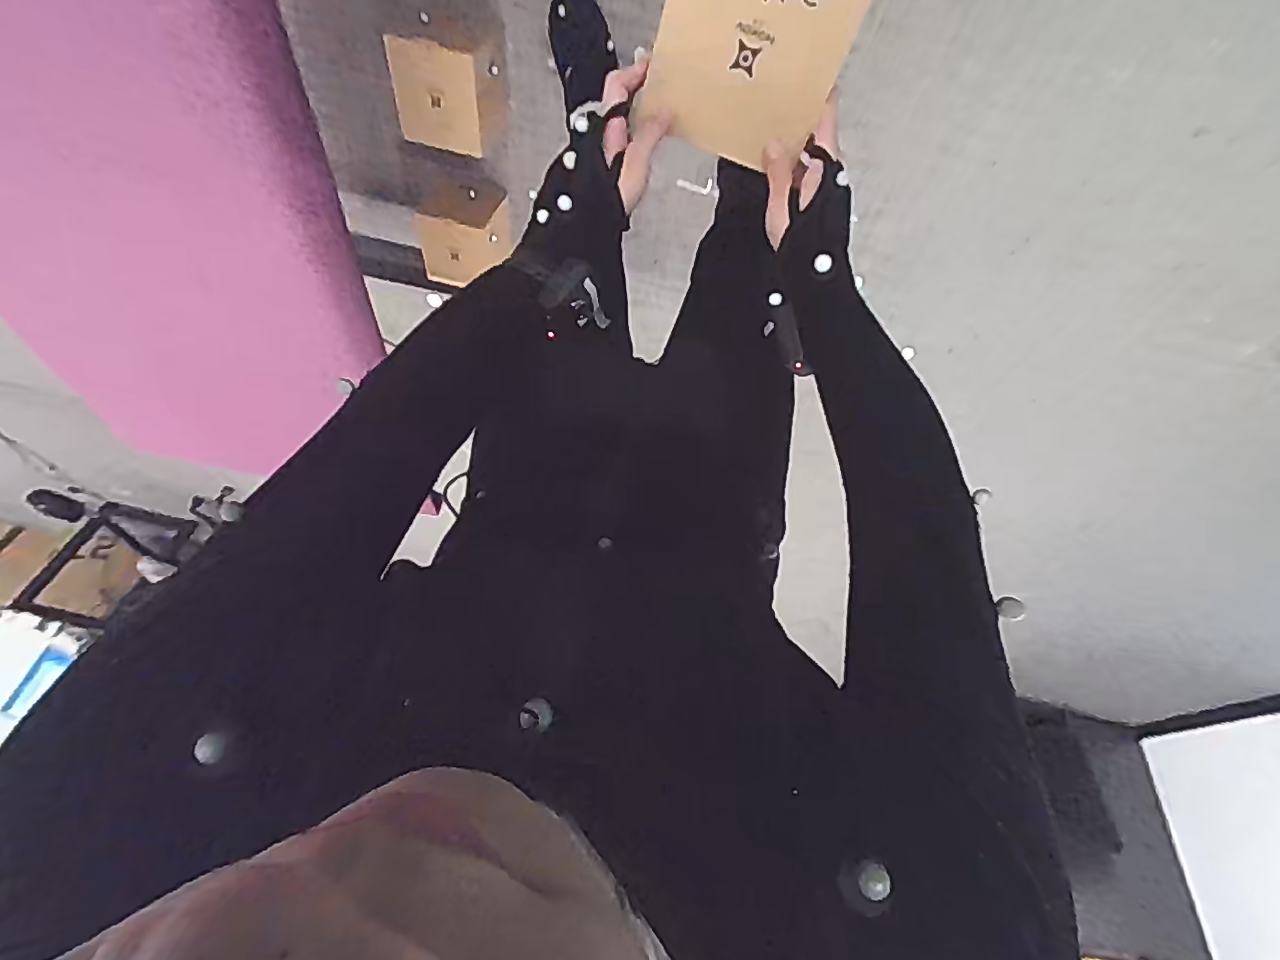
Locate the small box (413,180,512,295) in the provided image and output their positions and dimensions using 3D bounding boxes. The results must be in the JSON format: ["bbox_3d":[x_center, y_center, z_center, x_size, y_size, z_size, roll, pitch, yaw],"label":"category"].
[{"bbox_3d":[-0.420,-0.588,1.313,0.168,0.176,0.179,13,145,1],"label":"small box"}]

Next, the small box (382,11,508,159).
[{"bbox_3d":[-0.365,-0.768,1.049,0.168,0.176,0.179,14,145,0],"label":"small box"}]

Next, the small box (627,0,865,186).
[{"bbox_3d":[0.096,-0.432,0.534,0.168,0.176,0.179,16,133,-9],"label":"small box"}]
